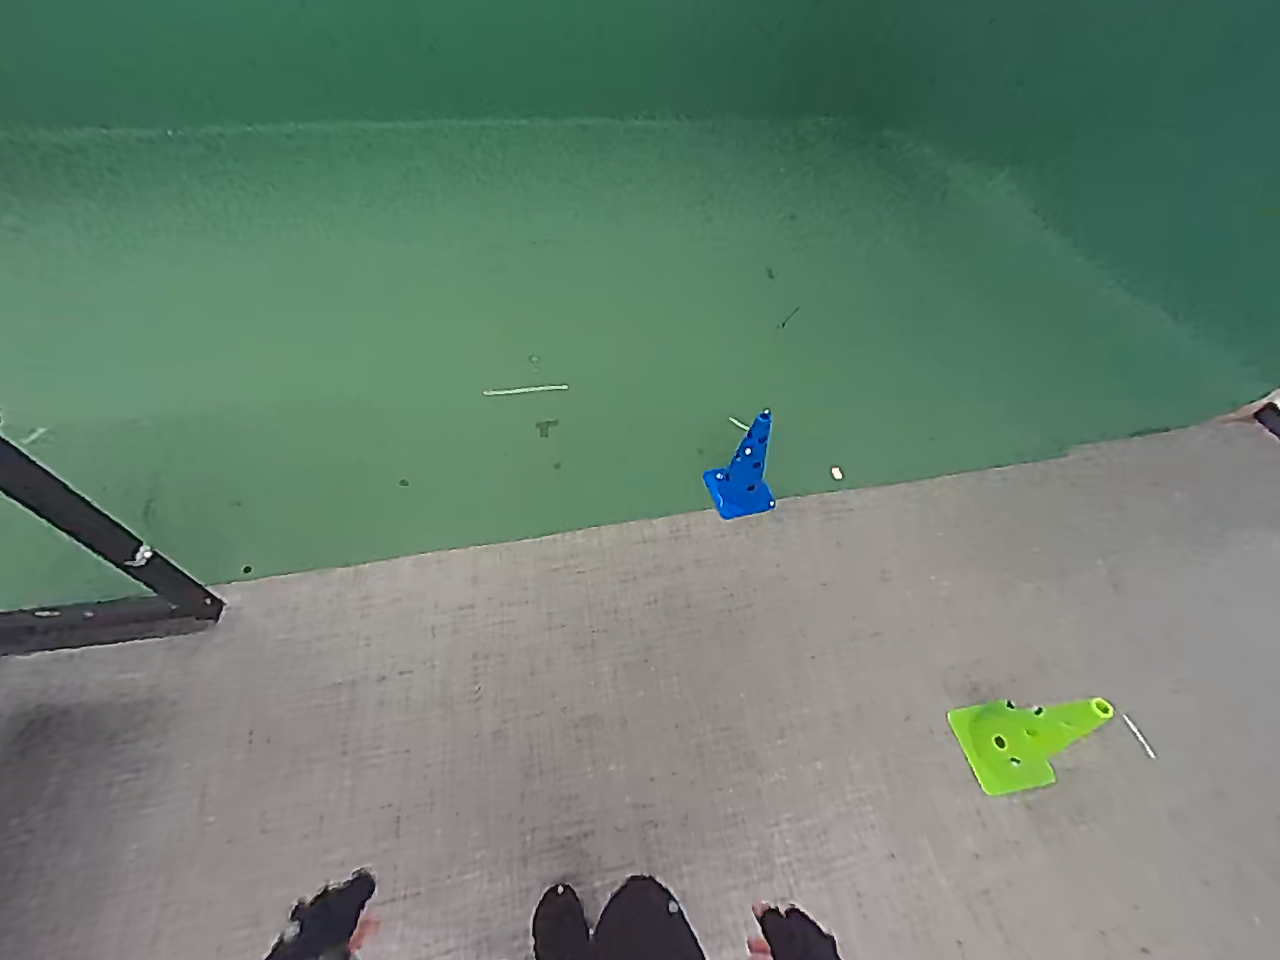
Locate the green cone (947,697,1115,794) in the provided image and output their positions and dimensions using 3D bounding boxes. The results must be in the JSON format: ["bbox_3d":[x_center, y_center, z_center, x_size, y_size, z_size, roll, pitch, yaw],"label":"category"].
[{"bbox_3d":[0.912,0.560,1.222,0.200,0.368,0.202,-8,55,-10],"label":"green cone"}]
